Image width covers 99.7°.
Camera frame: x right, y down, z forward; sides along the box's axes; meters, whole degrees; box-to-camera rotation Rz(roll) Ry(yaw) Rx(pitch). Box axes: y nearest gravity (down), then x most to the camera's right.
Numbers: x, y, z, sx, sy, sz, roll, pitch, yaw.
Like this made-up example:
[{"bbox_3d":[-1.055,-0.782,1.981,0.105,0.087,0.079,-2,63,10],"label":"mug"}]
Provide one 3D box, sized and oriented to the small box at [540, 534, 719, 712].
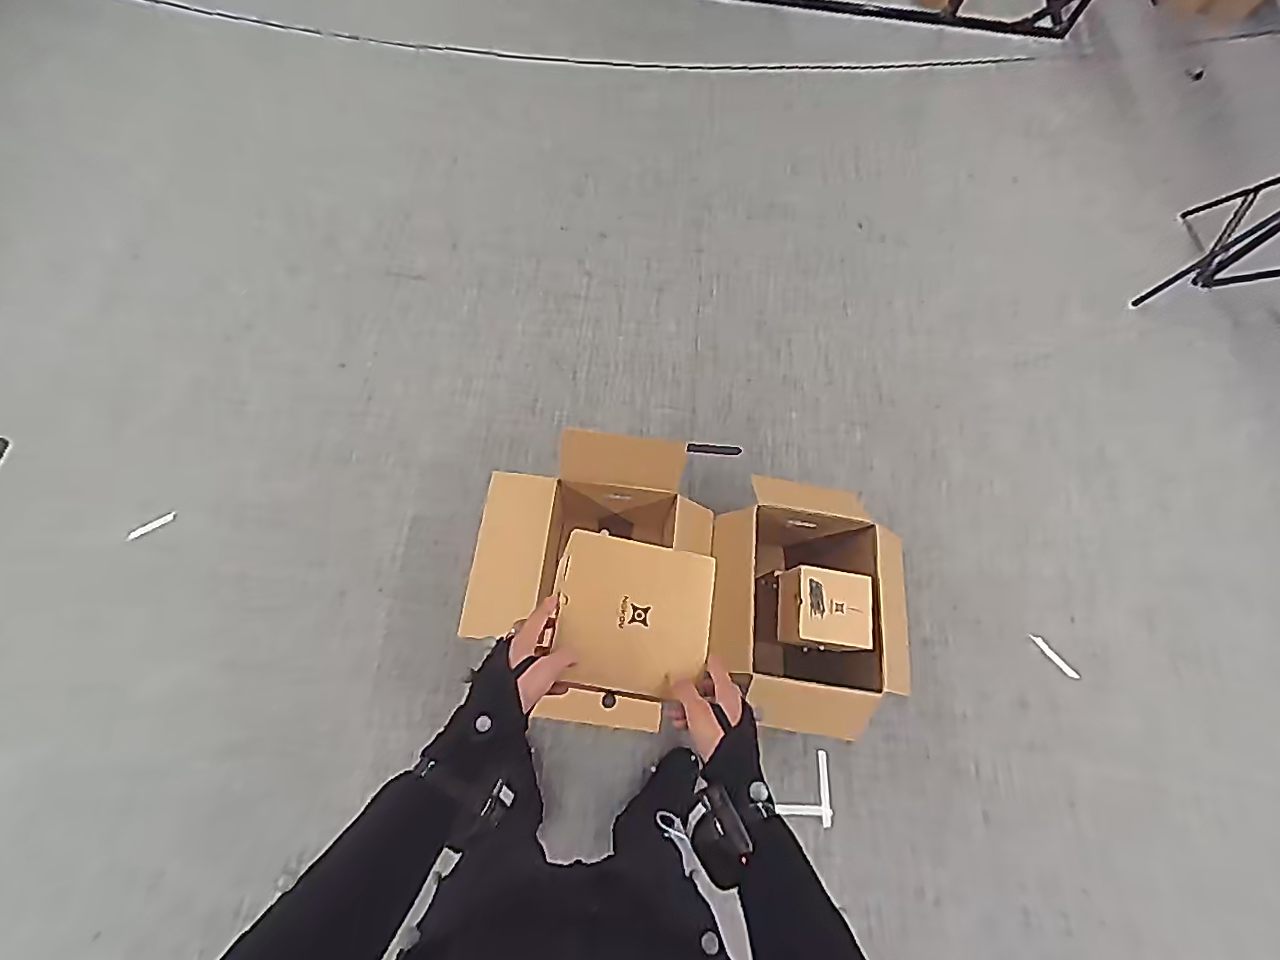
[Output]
[{"bbox_3d":[-0.019,0.180,0.666,0.179,0.176,0.168,12,68,-7],"label":"small box"}]
